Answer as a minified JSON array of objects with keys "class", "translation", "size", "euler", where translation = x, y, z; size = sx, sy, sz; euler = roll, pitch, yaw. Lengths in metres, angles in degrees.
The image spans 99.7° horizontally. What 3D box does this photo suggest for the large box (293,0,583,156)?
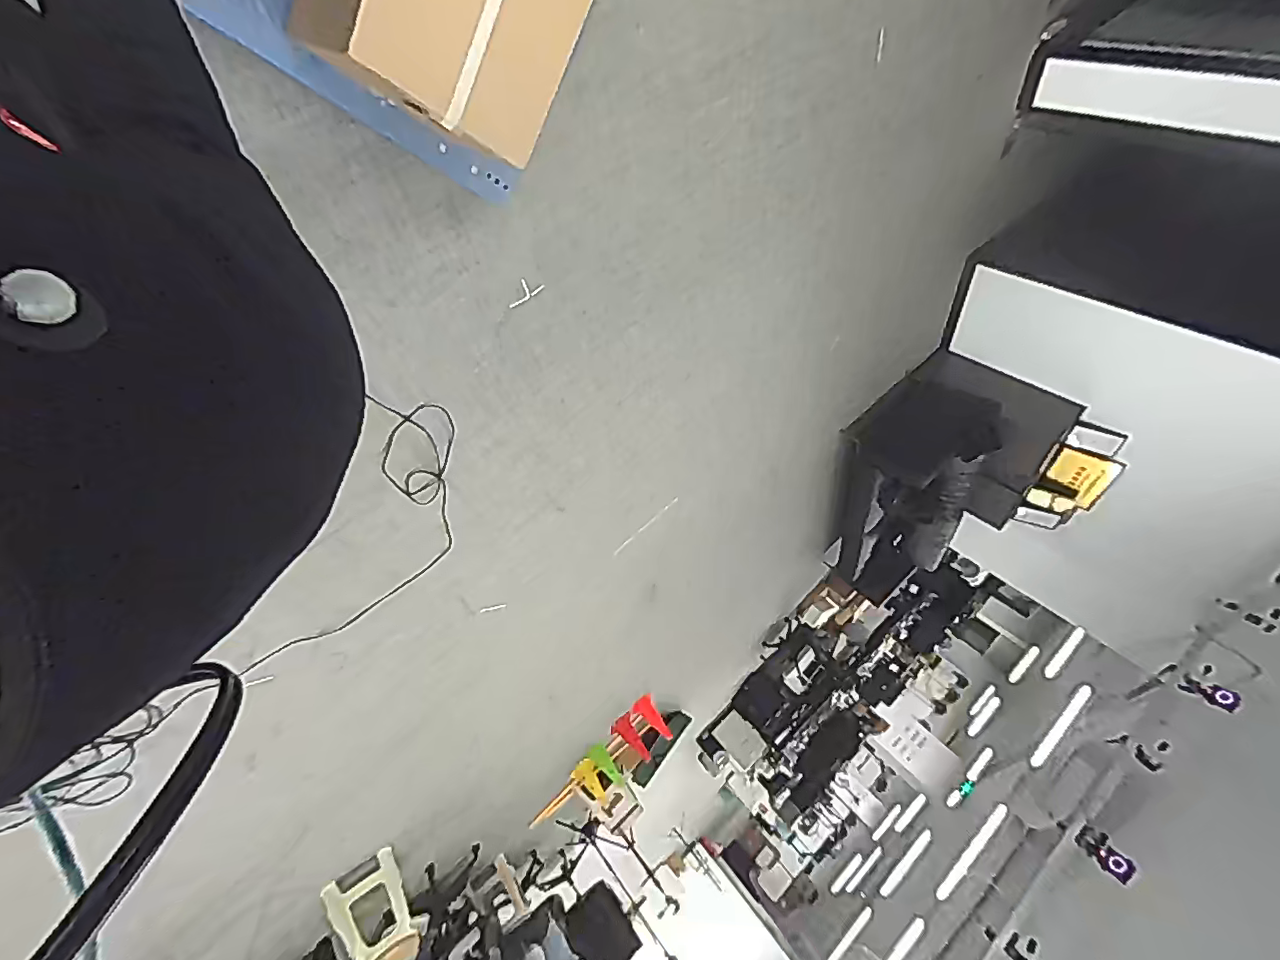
[{"class":"large box","translation":[-0.314,-0.837,0.888],"size":[0.320,0.320,0.408],"euler":[8,116,-52]}]
